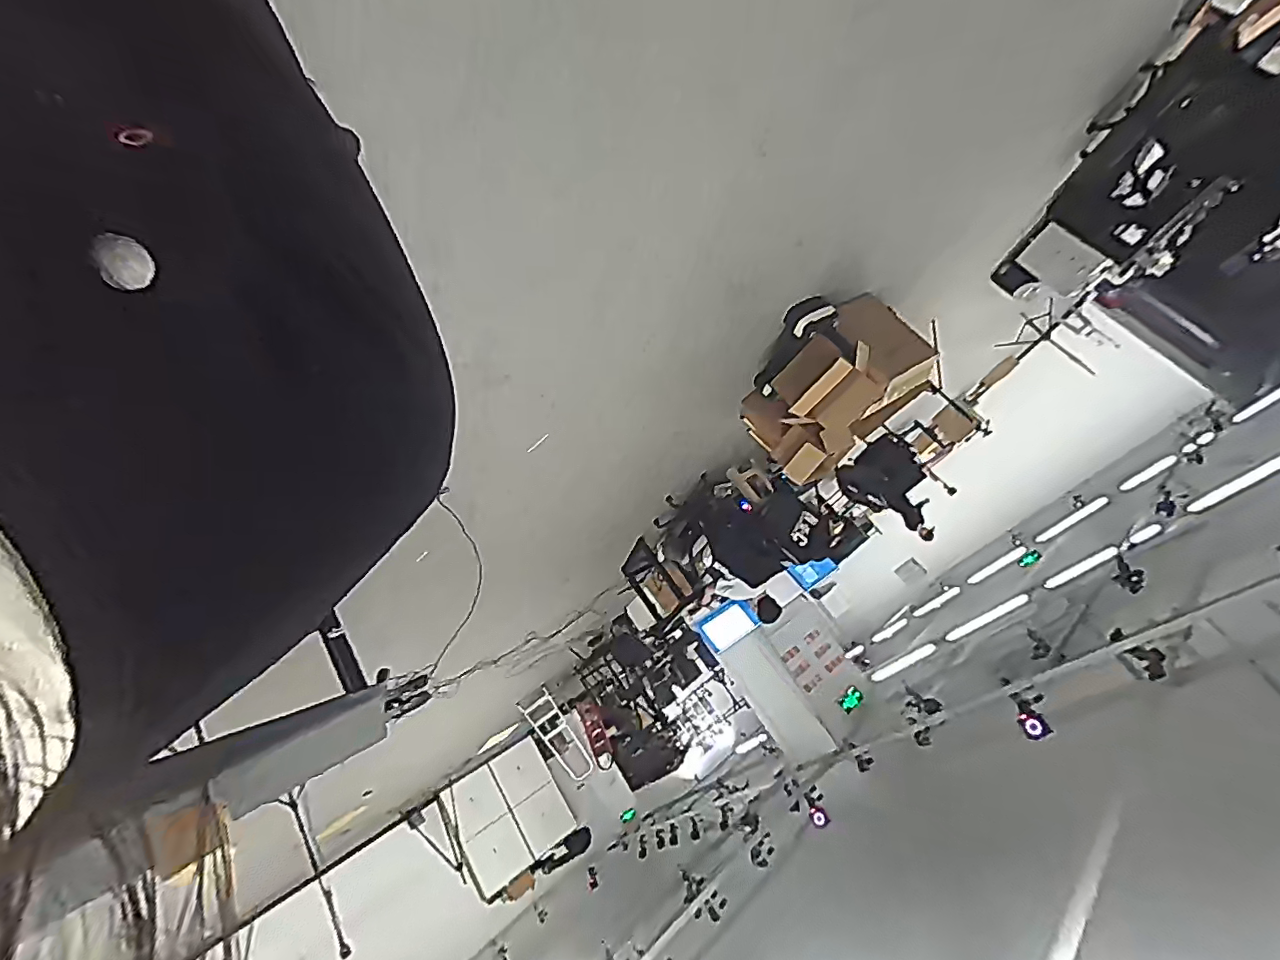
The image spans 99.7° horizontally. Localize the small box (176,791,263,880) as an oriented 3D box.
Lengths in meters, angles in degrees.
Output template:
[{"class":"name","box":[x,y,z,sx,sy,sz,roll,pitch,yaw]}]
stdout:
[{"class":"small box","box":[-1.336,1.127,1.721,0.168,0.176,0.179,-21,153,-34]}]
